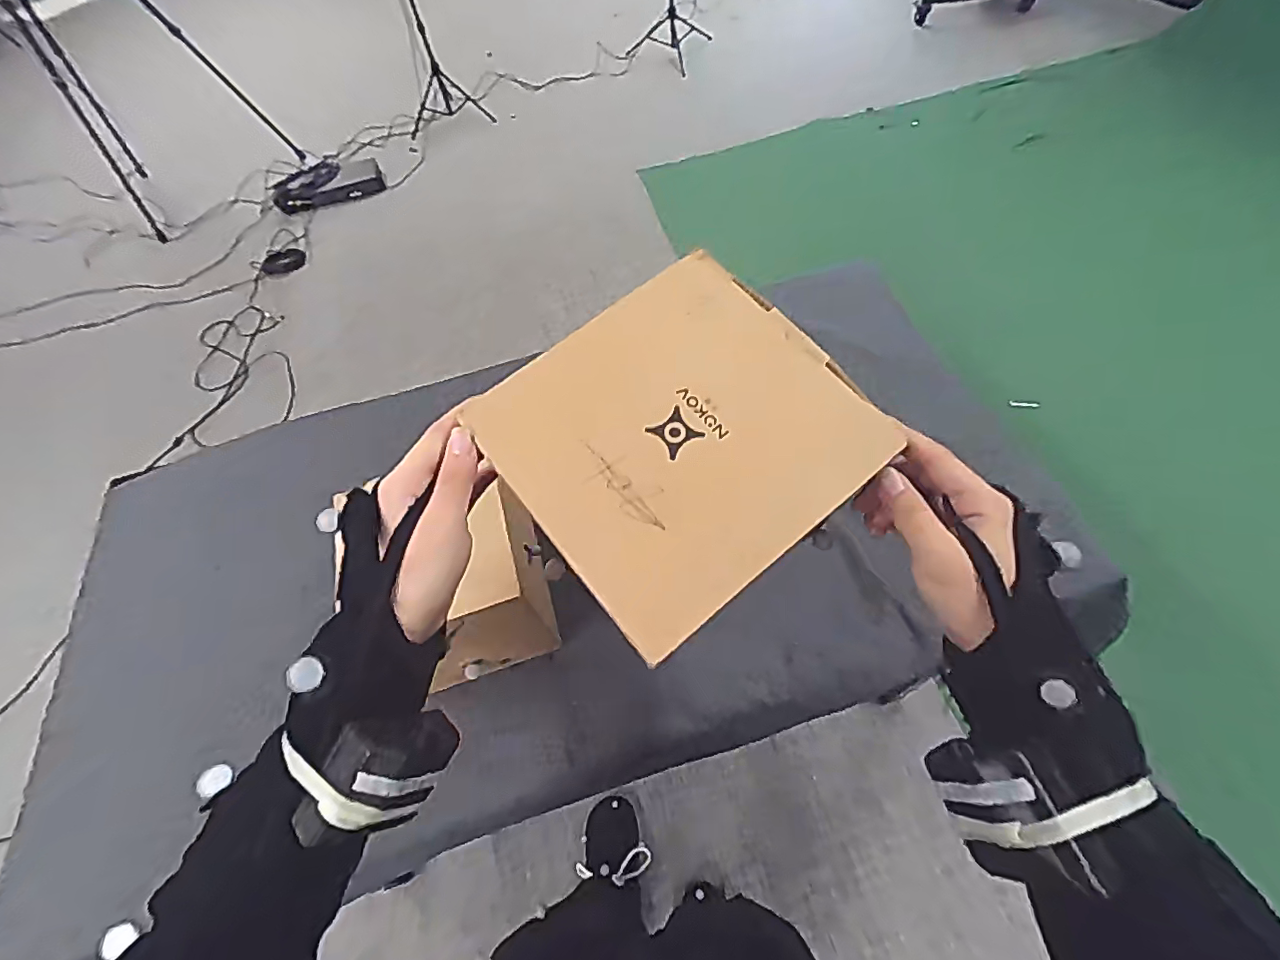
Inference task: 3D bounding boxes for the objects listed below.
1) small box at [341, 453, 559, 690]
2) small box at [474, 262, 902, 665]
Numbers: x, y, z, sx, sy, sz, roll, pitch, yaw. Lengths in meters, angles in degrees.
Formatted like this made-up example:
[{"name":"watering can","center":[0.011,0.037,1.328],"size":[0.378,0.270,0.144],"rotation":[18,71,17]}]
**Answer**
[{"name":"small box","center":[-0.199,0.104,0.590],"size":[0.168,0.176,0.179],"rotation":[-18,58,-5]},{"name":"small box","center":[0.025,0.002,0.366],"size":[0.179,0.176,0.168],"rotation":[-39,74,-11]}]
